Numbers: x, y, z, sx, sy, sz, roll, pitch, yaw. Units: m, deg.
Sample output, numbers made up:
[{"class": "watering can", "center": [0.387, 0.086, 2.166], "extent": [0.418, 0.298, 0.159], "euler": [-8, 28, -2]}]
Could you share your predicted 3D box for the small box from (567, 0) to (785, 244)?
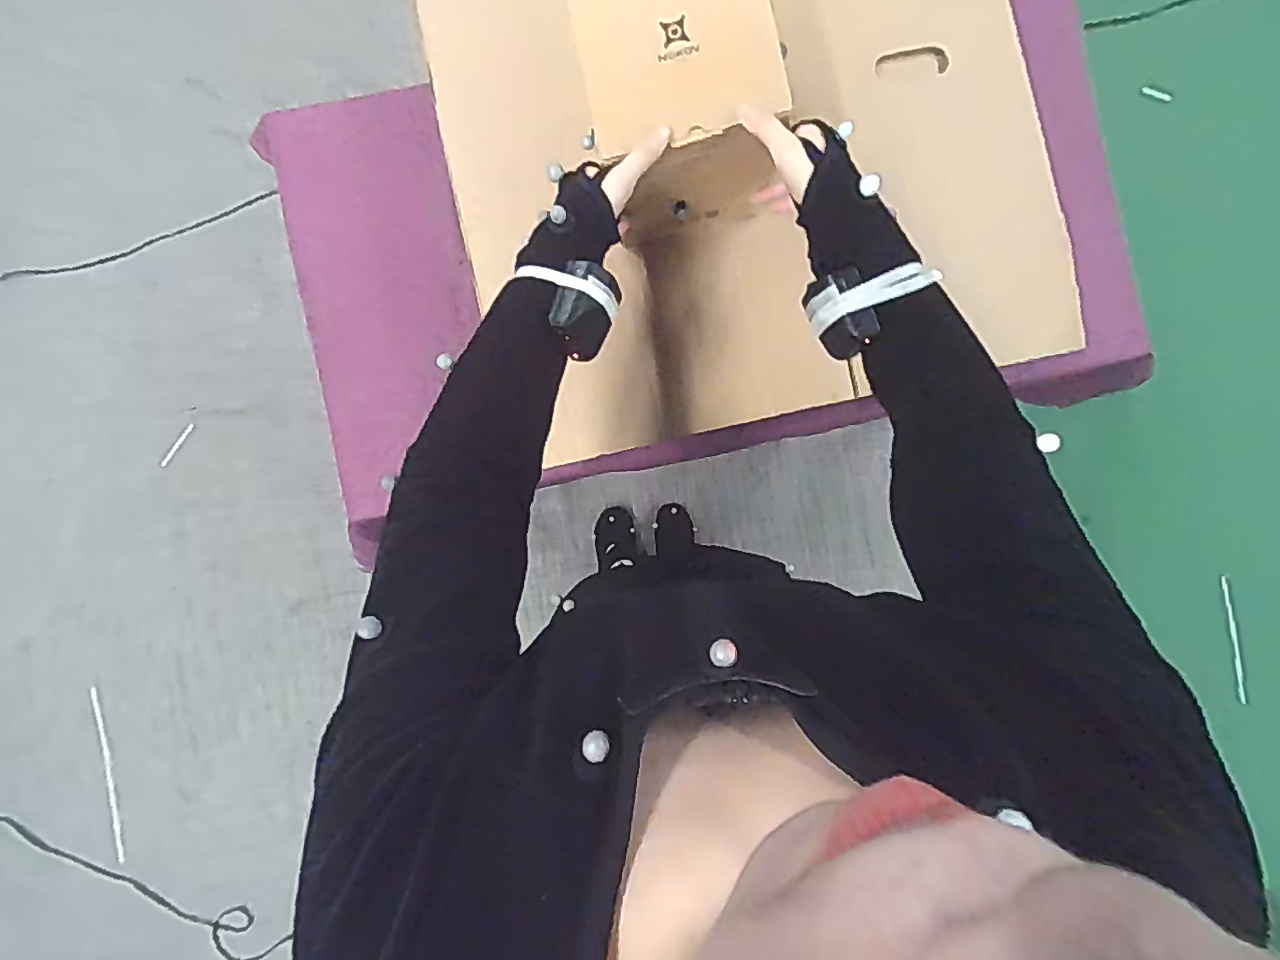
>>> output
[{"class": "small box", "center": [0.033, -0.370, 0.542], "extent": [0.168, 0.176, 0.179], "euler": [-12, 90, 5]}]
